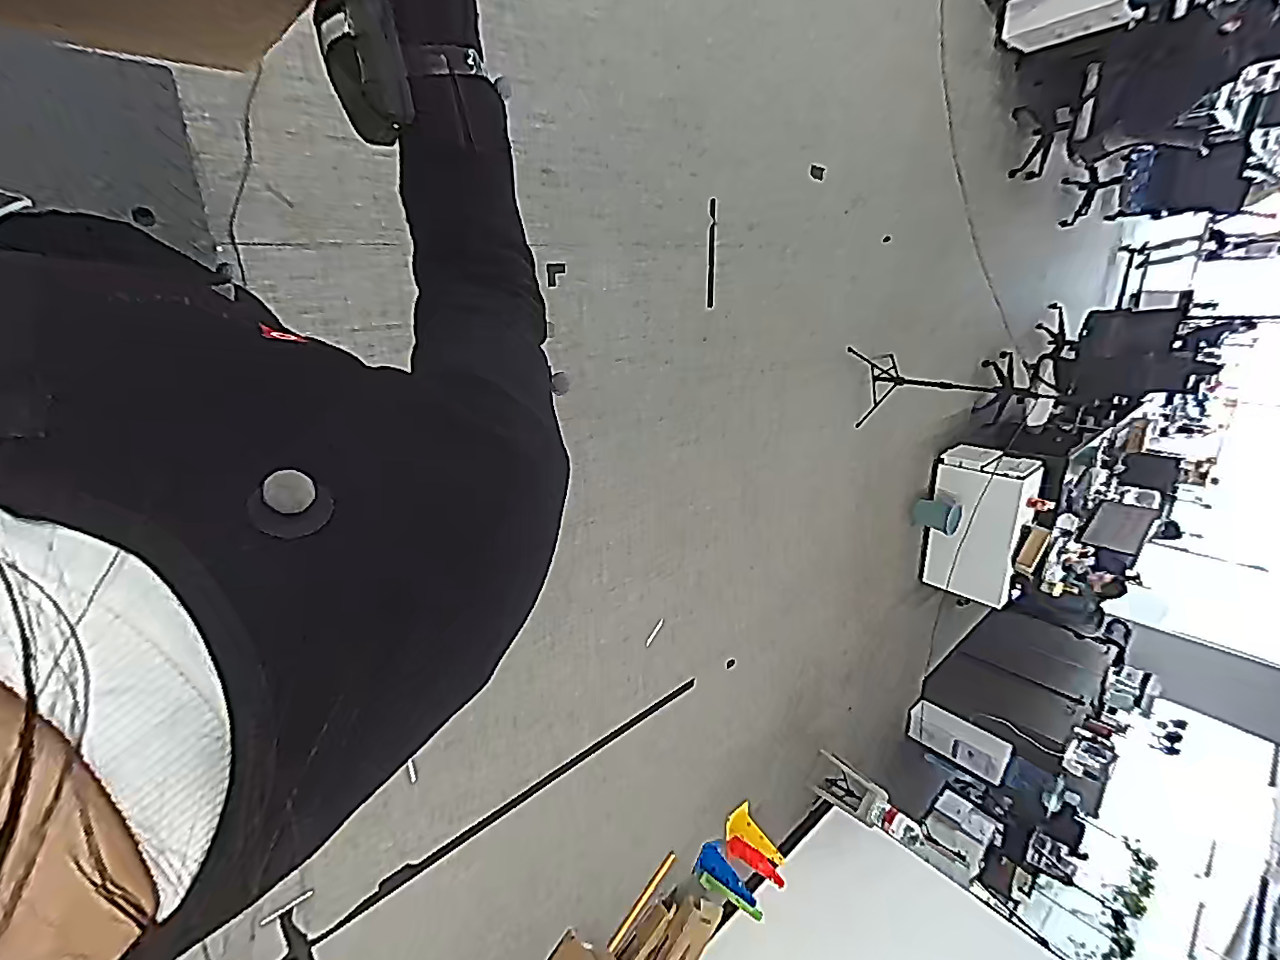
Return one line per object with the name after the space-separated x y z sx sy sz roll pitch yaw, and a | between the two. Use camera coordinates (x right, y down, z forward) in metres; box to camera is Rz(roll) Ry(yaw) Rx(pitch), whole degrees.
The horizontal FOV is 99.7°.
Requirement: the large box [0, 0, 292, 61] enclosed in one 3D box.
-0.411 -0.410 0.210 0.408 0.320 0.320 -19 124 -37 | large box

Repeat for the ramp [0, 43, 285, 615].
-1.073 -0.282 1.025 0.509 0.206 0.991 -16 112 -36 | ramp
